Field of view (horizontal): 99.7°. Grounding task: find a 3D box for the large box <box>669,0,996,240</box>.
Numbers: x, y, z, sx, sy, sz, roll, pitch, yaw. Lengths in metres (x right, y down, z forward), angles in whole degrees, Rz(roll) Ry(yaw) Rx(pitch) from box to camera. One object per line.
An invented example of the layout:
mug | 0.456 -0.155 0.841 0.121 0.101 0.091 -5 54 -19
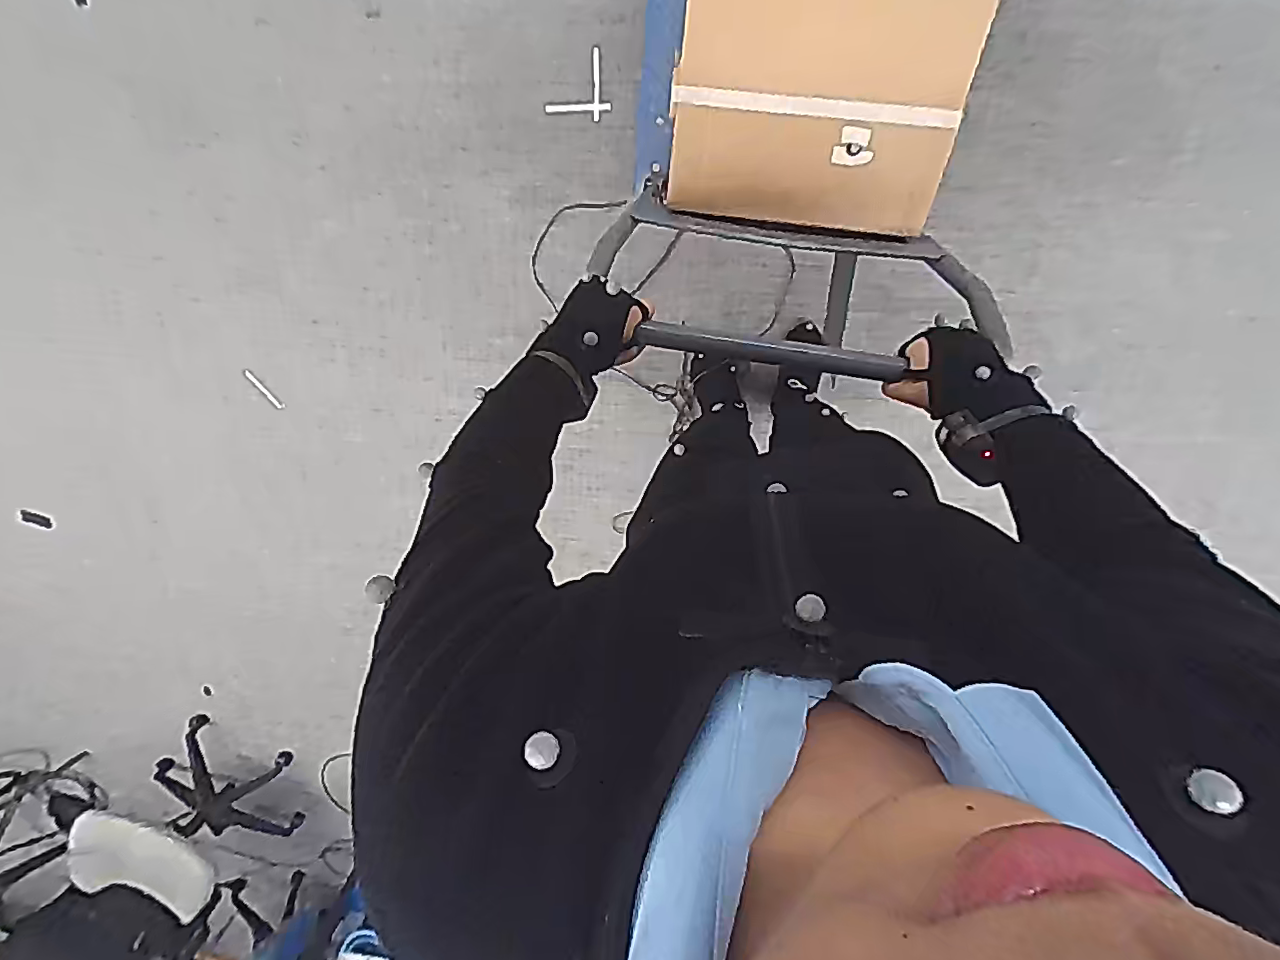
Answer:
large box | 0.269 -0.605 0.903 0.408 0.320 0.320 8 124 4
